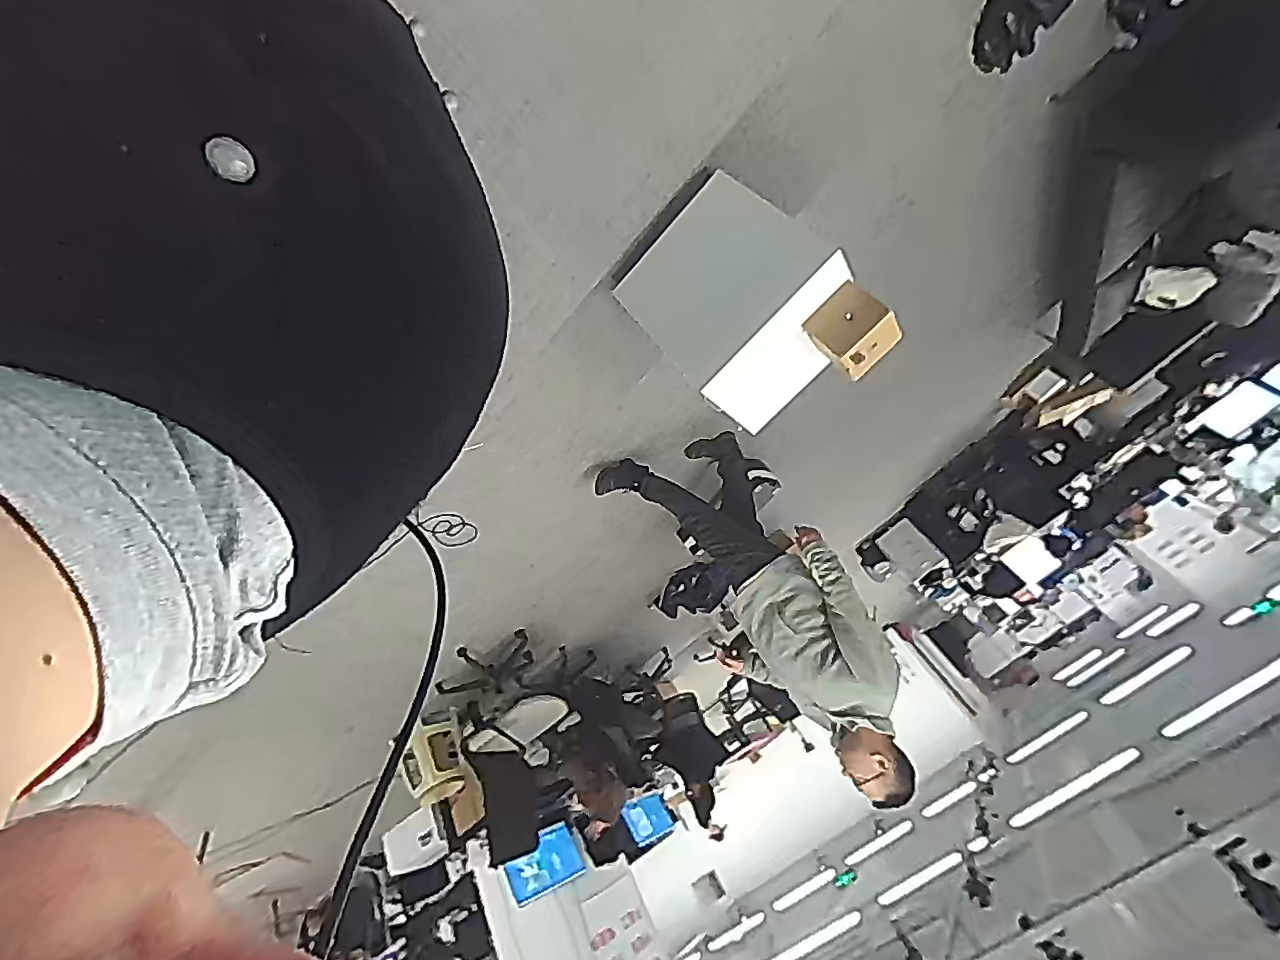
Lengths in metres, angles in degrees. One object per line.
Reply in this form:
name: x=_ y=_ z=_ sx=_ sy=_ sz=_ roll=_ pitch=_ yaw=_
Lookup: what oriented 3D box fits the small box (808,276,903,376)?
small box: x=0.598 y=-0.433 z=1.523 sx=0.179 sy=0.176 sz=0.168 roll=-46 pitch=146 yaw=16
